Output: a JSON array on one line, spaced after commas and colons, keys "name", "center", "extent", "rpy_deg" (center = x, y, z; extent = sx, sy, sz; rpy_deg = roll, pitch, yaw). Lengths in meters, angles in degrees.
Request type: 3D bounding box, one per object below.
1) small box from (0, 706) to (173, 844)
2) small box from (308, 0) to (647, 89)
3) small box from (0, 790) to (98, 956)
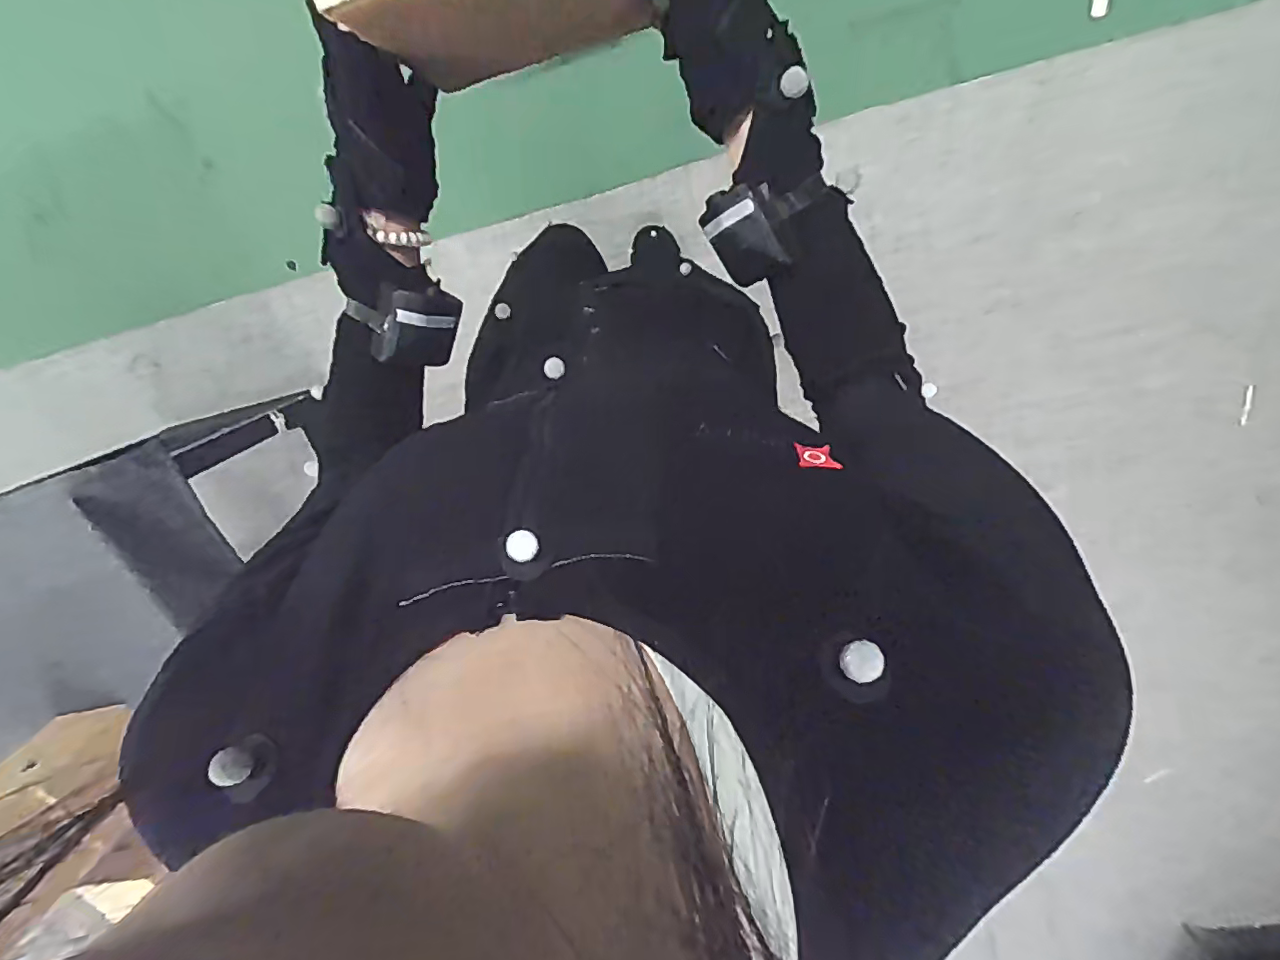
[{"name": "small box", "center": [-1.015, 0.538, 0.986], "extent": [0.179, 0.176, 0.168], "rpy_deg": [-13, 113, 10]}, {"name": "small box", "center": [-0.099, -0.358, 0.307], "extent": [0.179, 0.176, 0.168], "rpy_deg": [-13, 112, 7]}, {"name": "small box", "center": [-1.036, 0.621, 0.845], "extent": [0.179, 0.176, 0.168], "rpy_deg": [-15, 113, 10]}]
